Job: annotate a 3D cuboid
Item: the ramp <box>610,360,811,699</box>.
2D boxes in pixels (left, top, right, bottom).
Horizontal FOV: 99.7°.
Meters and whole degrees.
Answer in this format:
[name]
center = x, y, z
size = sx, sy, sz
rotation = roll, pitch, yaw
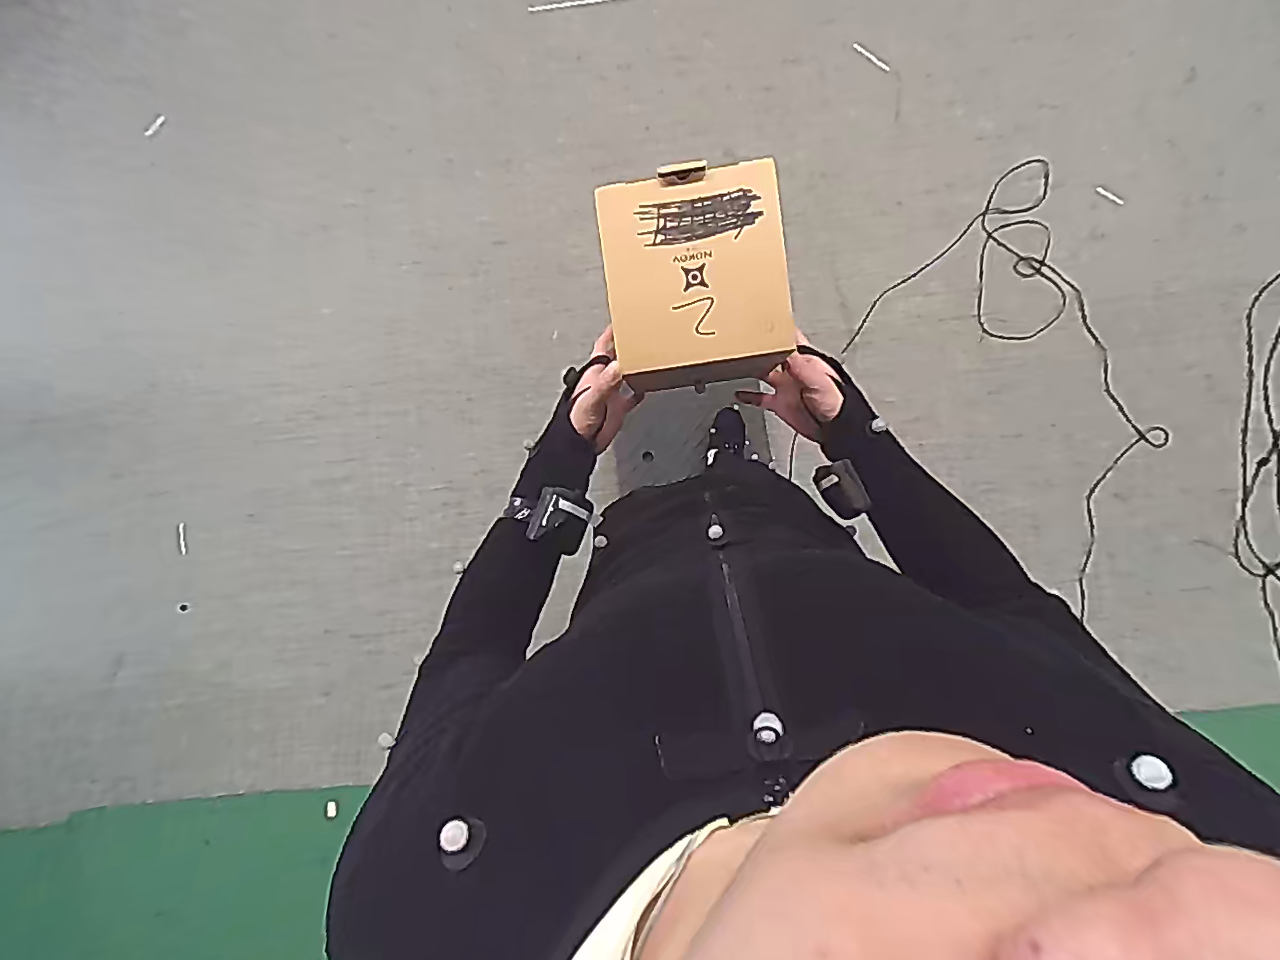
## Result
[ramp]
center = 0.195, 0.125, 1.660
size = 0.509, 0.206, 0.991
rotation = -9, 89, 3
